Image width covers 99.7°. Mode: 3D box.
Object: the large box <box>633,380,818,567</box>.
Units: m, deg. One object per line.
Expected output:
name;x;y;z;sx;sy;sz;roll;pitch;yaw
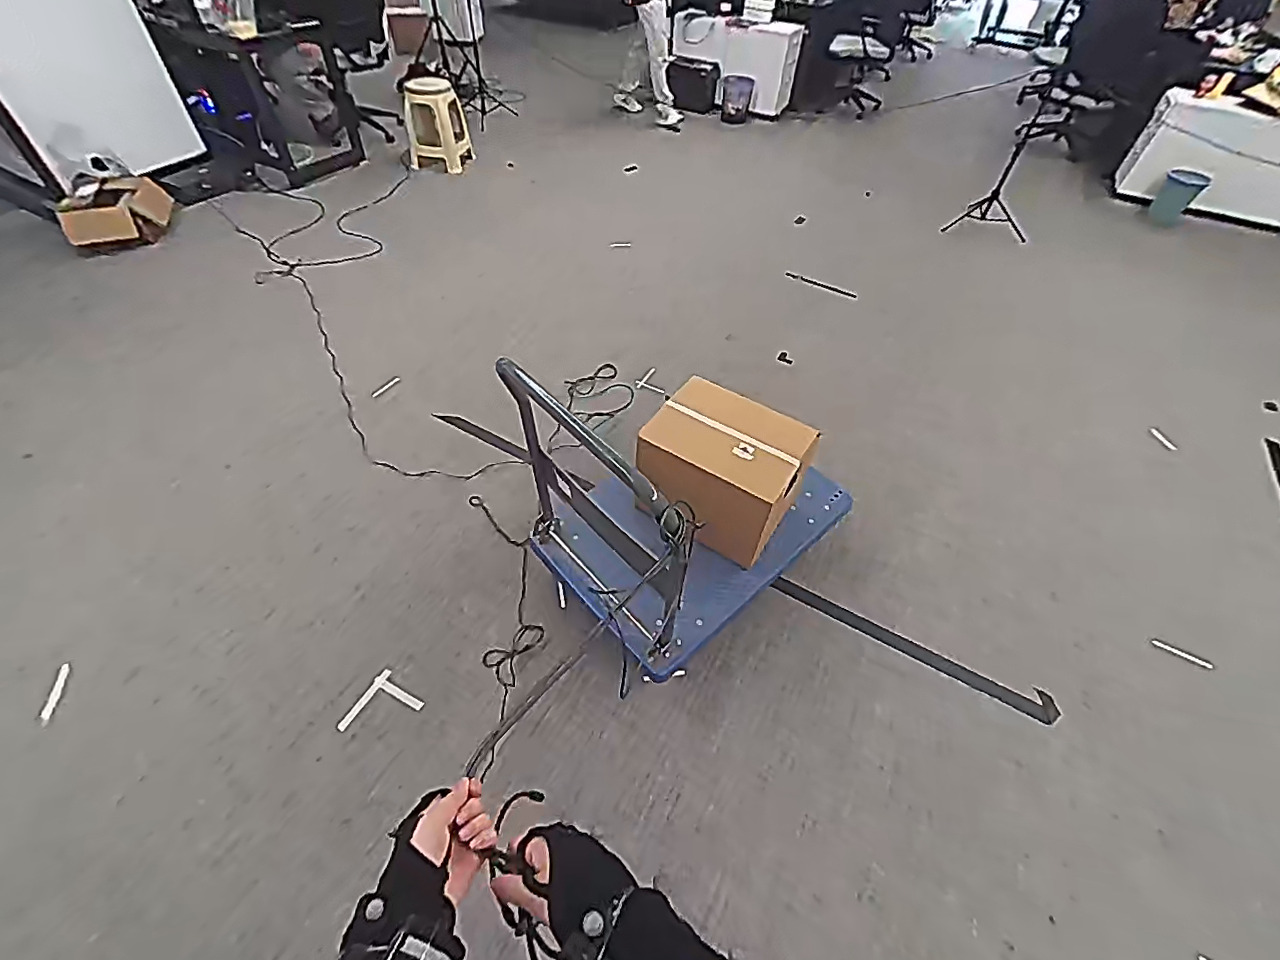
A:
large box;0.230;-0.022;1.566;0.408;0.320;0.320;28;55;19
